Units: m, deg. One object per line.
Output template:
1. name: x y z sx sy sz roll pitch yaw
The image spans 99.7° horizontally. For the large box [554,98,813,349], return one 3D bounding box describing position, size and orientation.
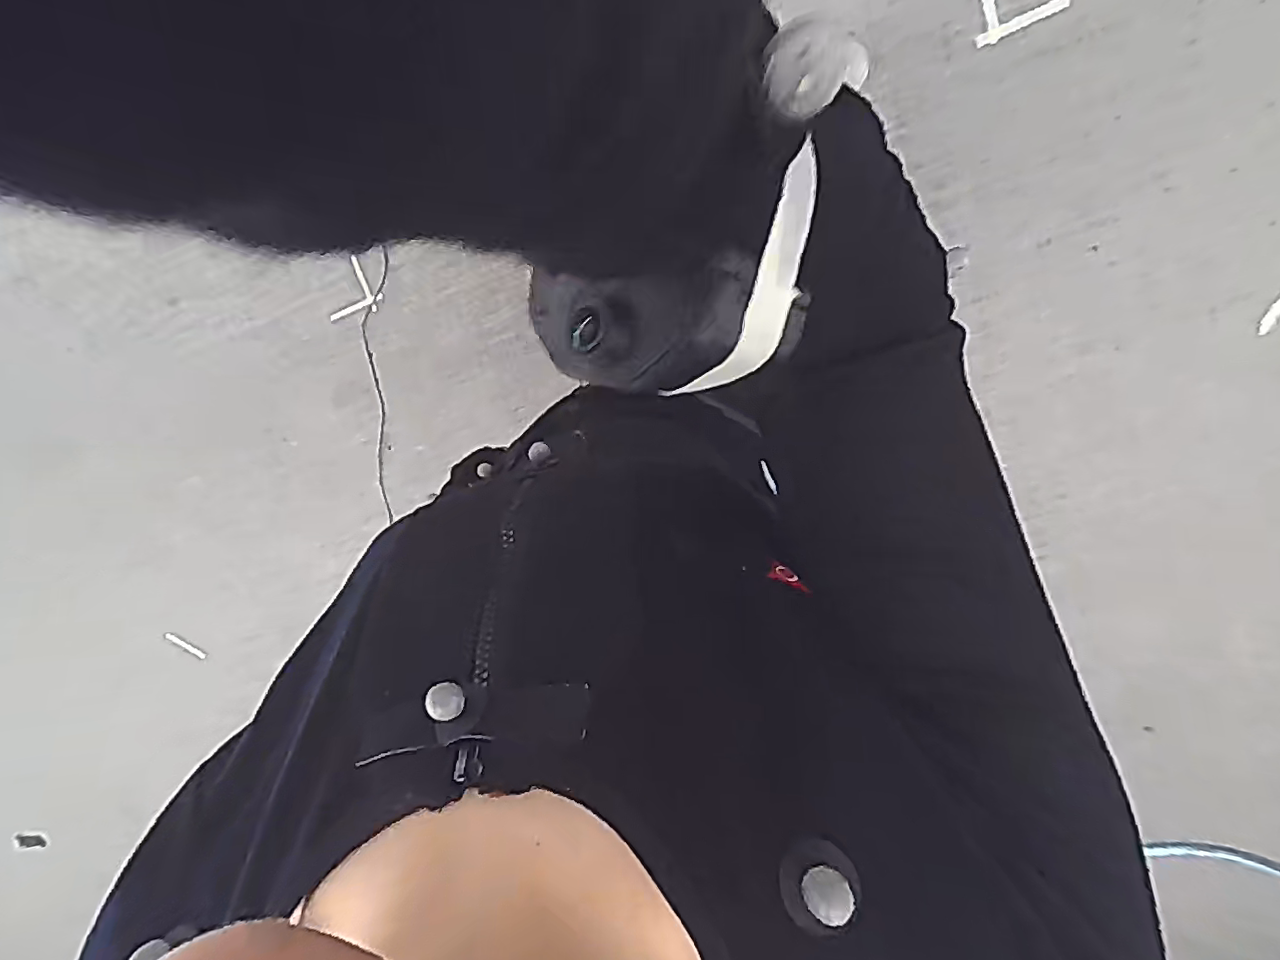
1. large box: 0.091 -0.474 1.100 0.408 0.320 0.320 -14 102 10
